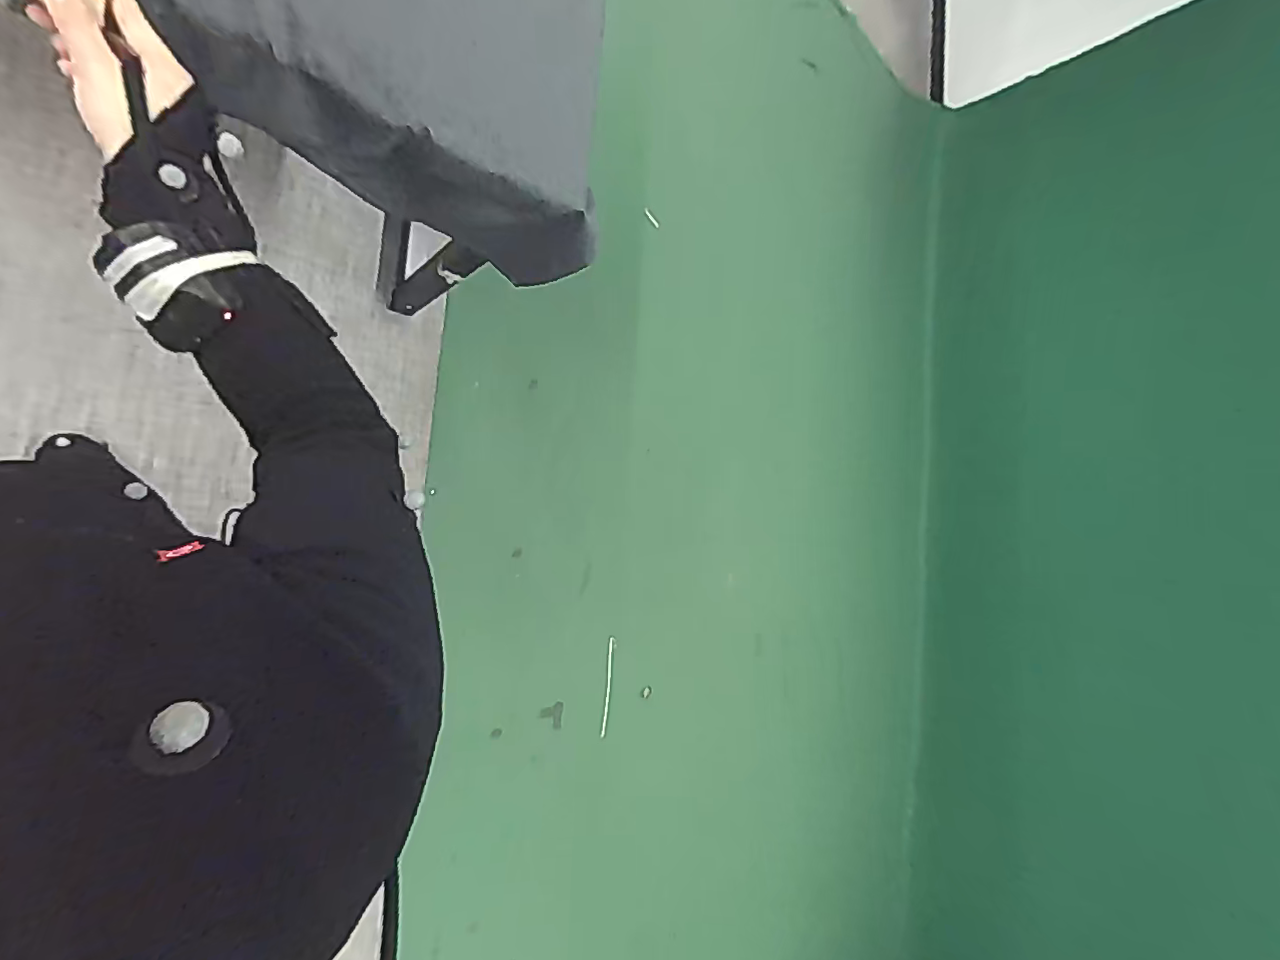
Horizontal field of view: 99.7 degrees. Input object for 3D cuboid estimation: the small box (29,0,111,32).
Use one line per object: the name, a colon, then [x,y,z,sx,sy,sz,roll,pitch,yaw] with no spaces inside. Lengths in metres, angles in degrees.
small box: [-0.403,-0.390,0.291,0.179,0.176,0.168,6,116,-47]
